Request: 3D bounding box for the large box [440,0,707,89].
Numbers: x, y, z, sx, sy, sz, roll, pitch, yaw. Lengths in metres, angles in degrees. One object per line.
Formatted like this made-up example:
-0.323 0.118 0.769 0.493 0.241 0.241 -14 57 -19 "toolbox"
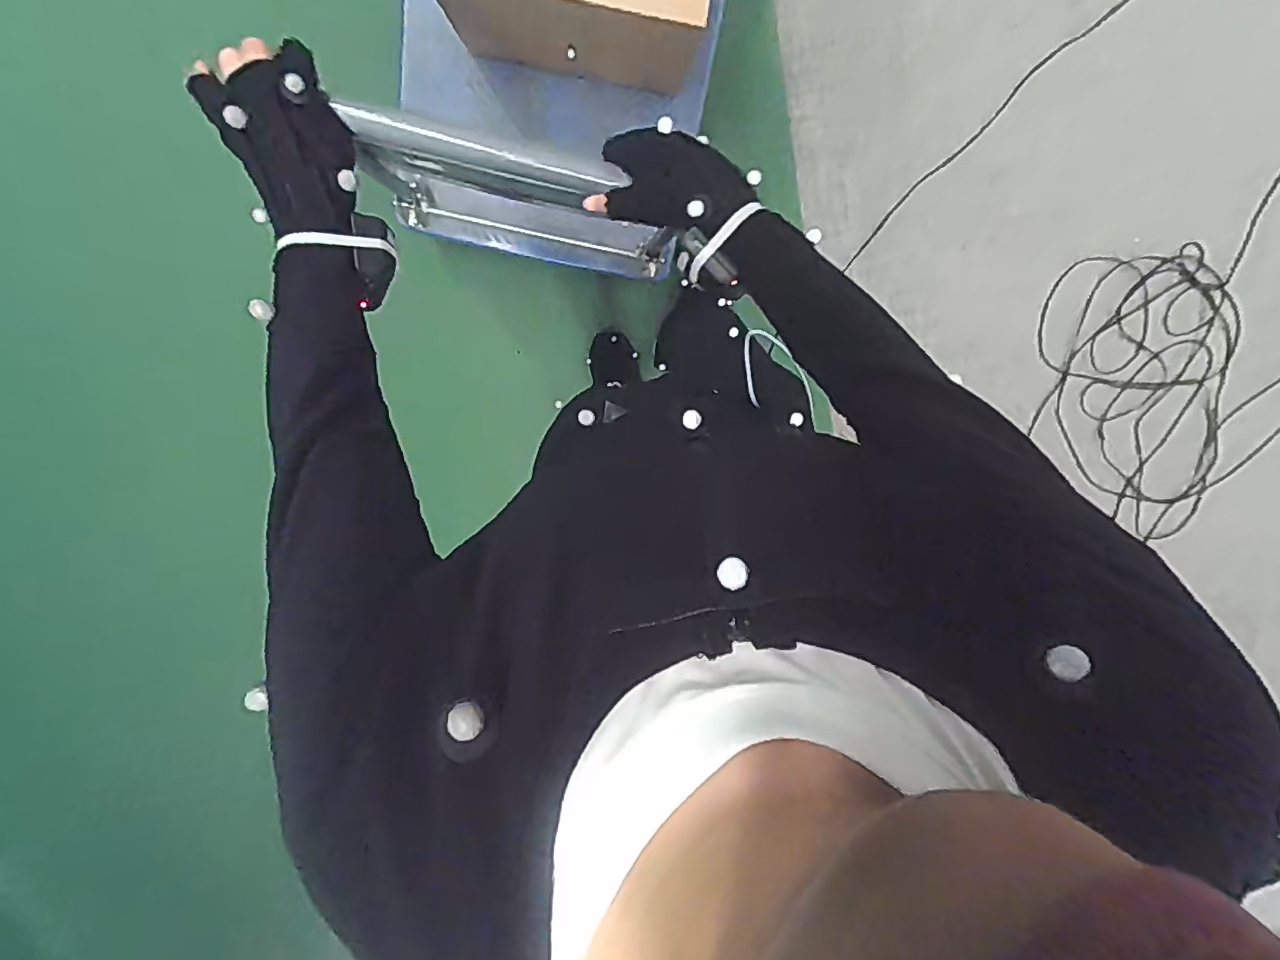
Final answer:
-0.091 -0.870 0.852 0.408 0.320 0.320 7 109 -5 "large box"
